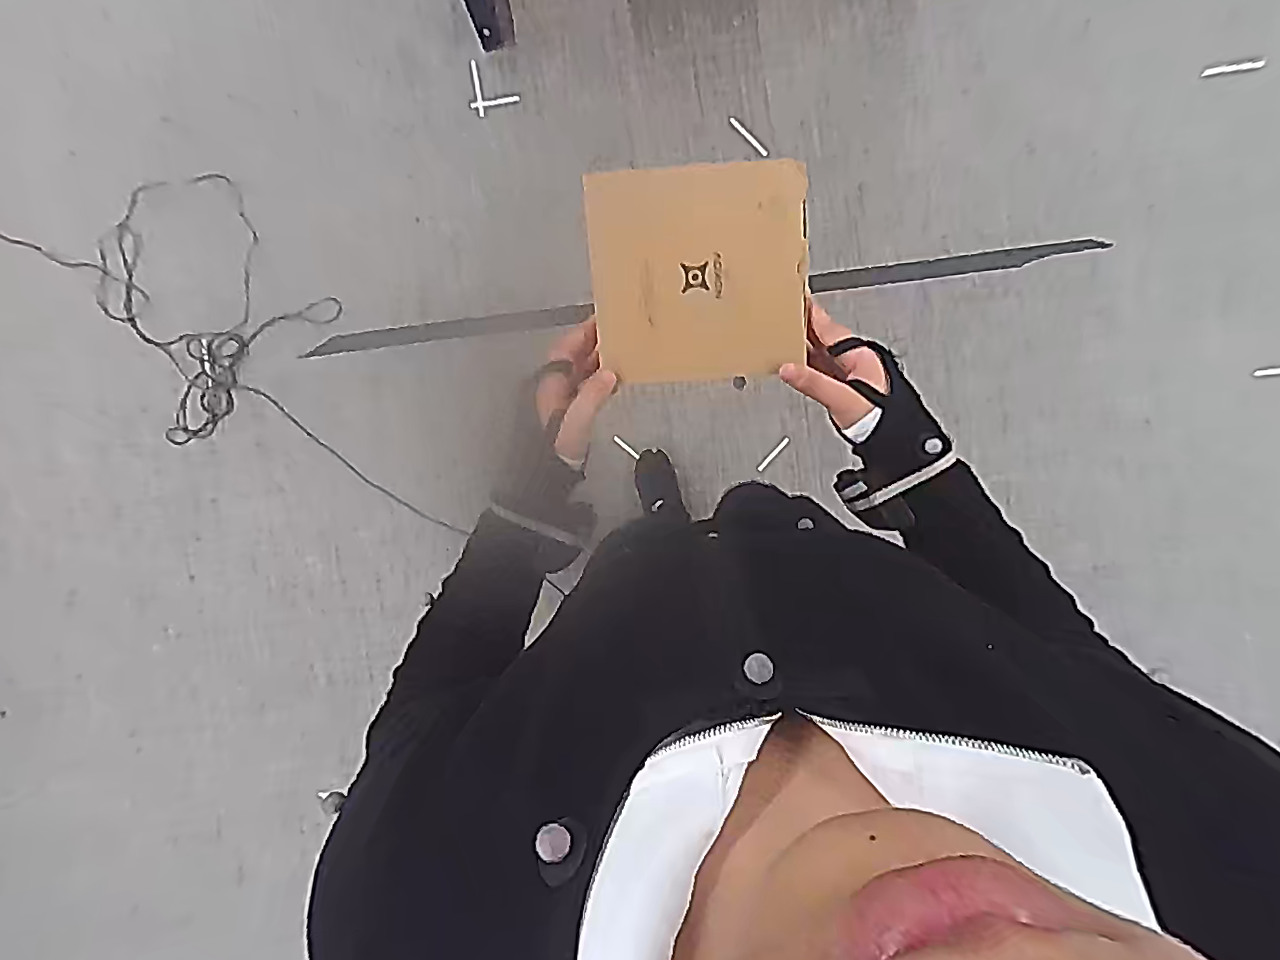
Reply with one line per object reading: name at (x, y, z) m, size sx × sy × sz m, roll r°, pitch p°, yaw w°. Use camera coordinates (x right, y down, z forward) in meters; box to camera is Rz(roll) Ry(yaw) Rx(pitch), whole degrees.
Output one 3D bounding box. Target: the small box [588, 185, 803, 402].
small box at (0.048, -0.171, 0.532) m, size 0.179 × 0.176 × 0.168 m, roll -5°, pitch 102°, yaw 1°
